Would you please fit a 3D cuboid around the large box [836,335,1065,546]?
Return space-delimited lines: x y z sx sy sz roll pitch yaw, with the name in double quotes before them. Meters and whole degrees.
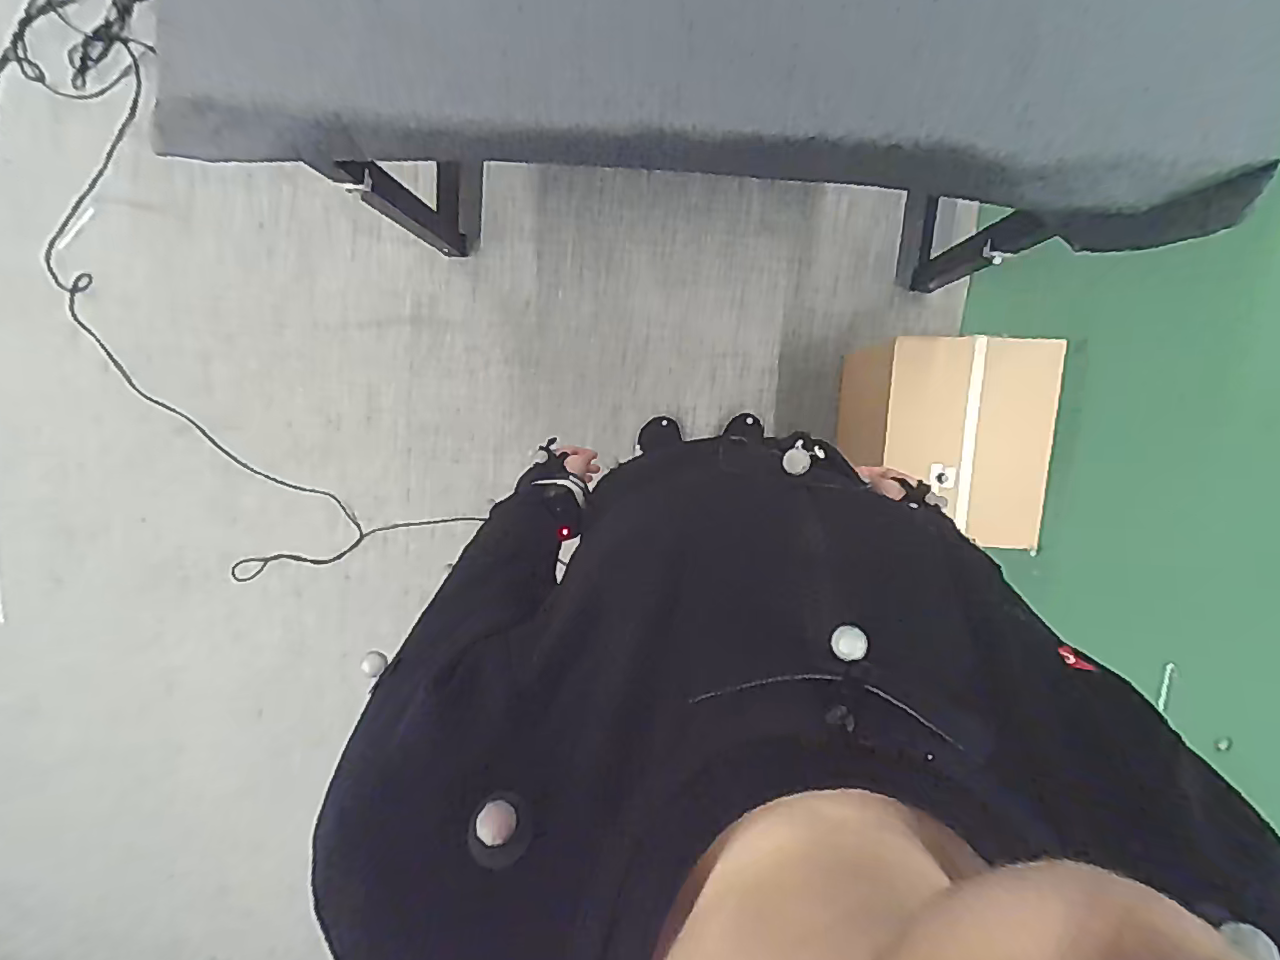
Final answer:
"large box" 0.636 -0.094 1.174 0.320 0.320 0.408 2 98 4
